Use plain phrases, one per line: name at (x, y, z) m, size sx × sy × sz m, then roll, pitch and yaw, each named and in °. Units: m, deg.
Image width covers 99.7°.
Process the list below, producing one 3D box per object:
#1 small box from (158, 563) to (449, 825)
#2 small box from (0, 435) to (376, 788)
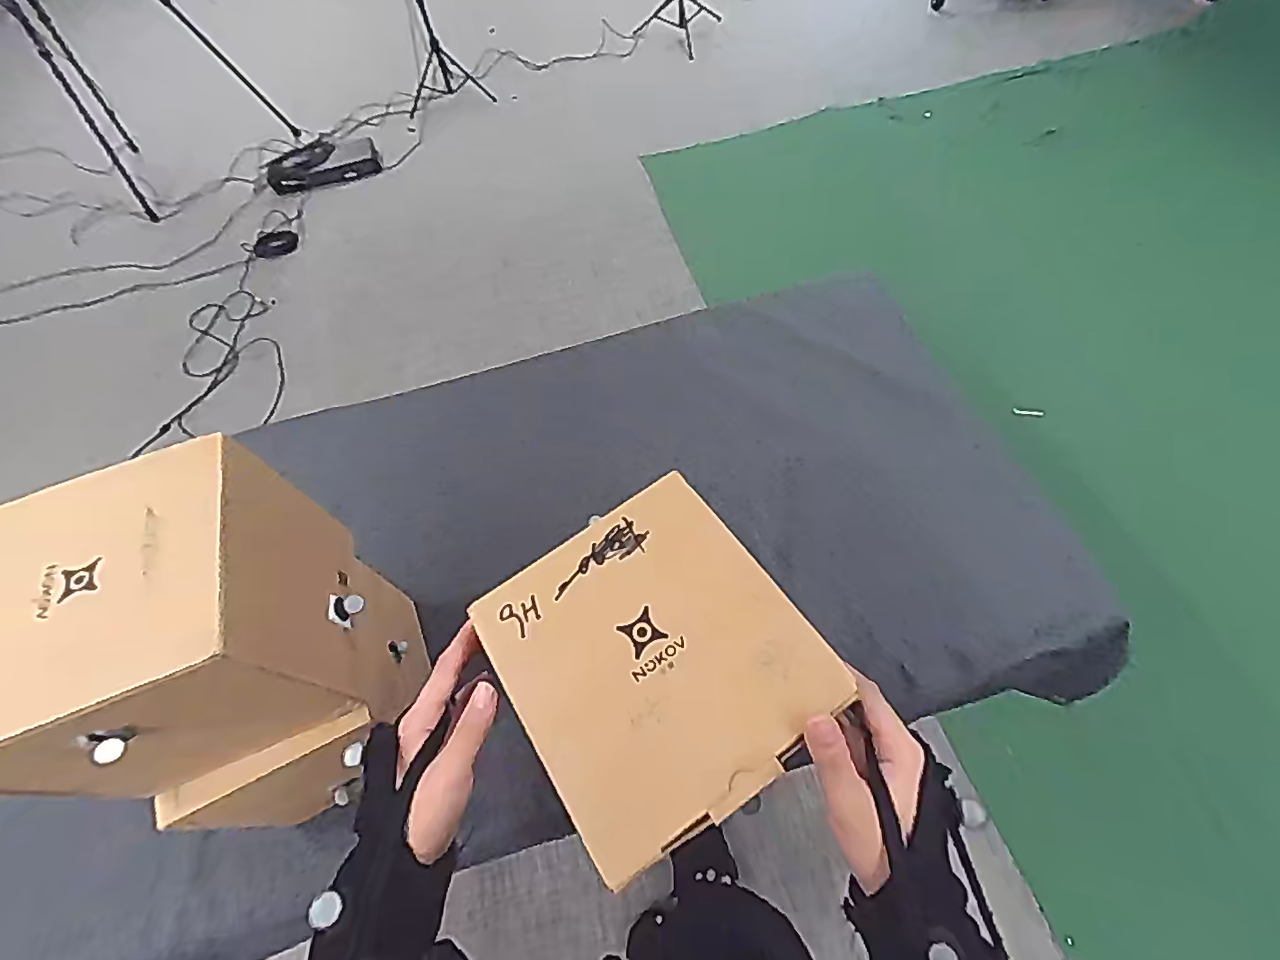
small box at (-0.310, 0.201, 0.520) m, size 0.168 × 0.176 × 0.179 m, roll -26°, pitch 60°, yaw -10°
small box at (-0.324, 0.103, 0.390) m, size 0.179 × 0.176 × 0.168 m, roll -21°, pitch 60°, yaw -9°
